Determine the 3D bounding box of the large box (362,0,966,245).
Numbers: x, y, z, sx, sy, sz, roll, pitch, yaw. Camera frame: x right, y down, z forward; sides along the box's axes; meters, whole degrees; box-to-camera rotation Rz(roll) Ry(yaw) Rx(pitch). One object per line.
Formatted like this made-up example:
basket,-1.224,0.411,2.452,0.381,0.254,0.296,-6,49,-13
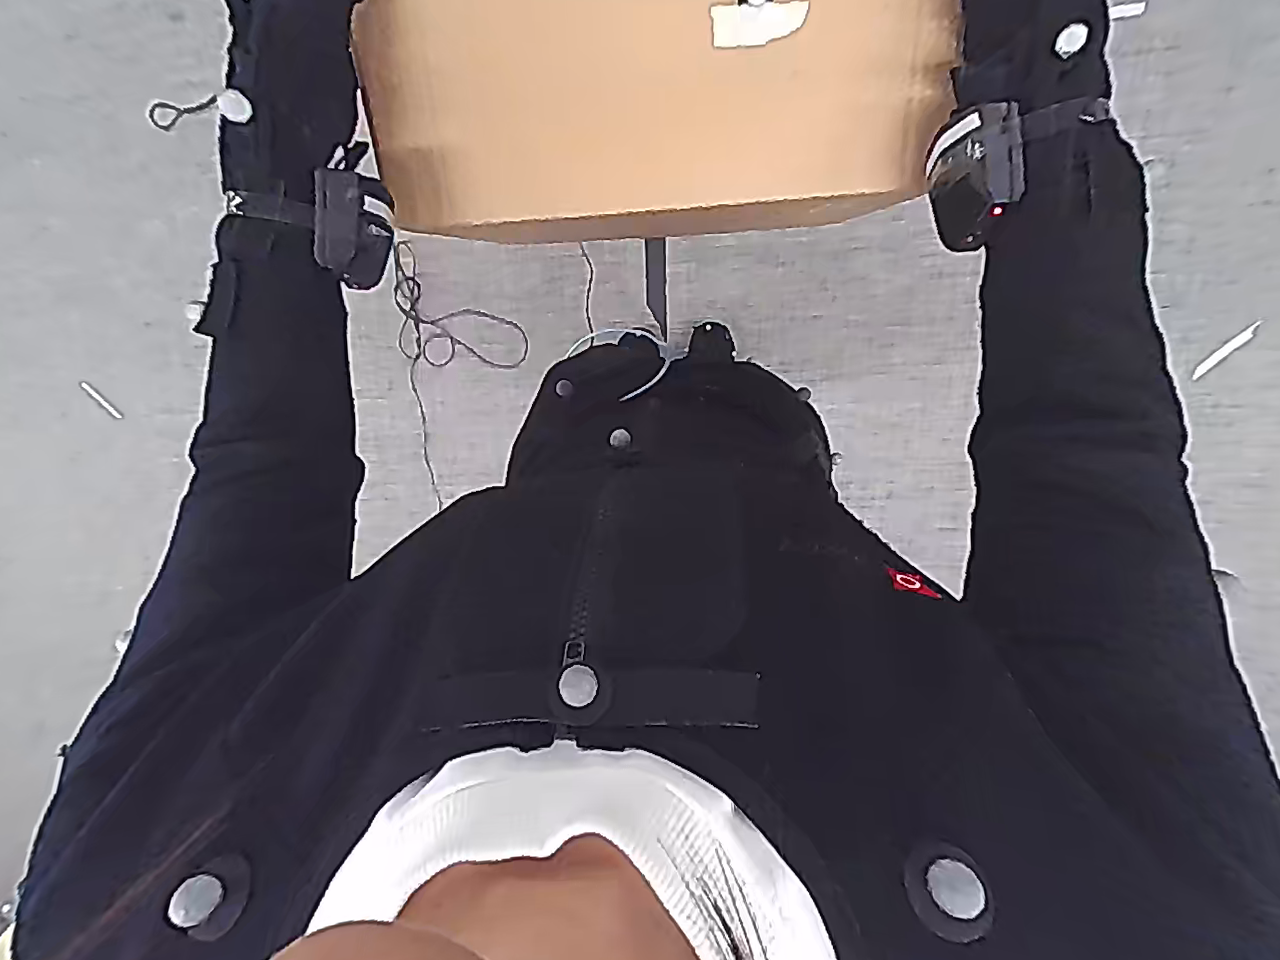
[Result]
large box,0.016,-0.401,0.482,0.408,0.320,0.320,-2,111,5
